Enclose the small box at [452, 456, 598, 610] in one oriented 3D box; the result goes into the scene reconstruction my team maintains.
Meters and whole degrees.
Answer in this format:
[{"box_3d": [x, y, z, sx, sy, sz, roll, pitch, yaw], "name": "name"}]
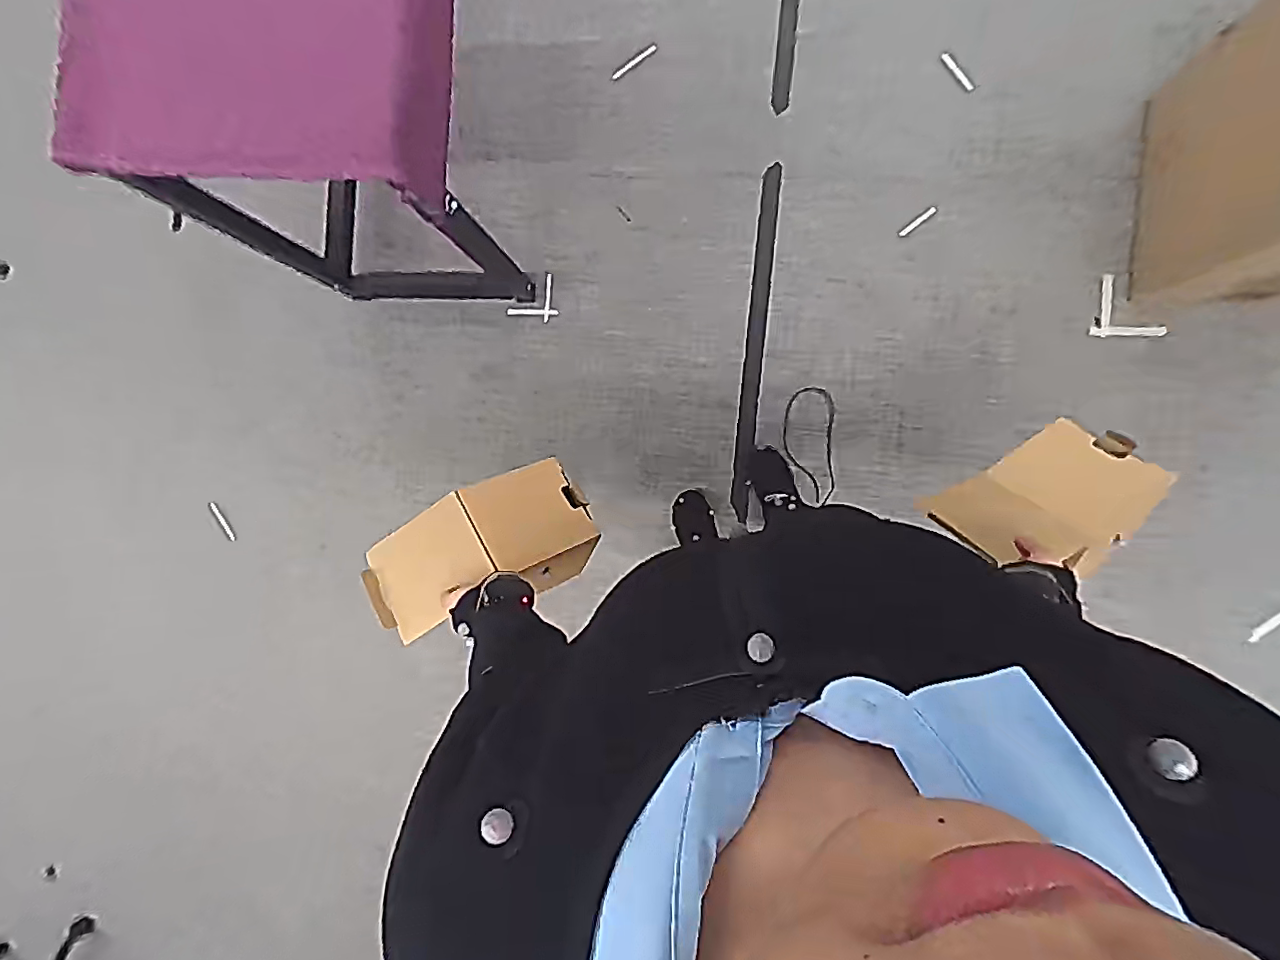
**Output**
[{"box_3d": [-0.197, 0.092, 0.899, 0.179, 0.176, 0.168, -22, 69, -30], "name": "small box"}]
